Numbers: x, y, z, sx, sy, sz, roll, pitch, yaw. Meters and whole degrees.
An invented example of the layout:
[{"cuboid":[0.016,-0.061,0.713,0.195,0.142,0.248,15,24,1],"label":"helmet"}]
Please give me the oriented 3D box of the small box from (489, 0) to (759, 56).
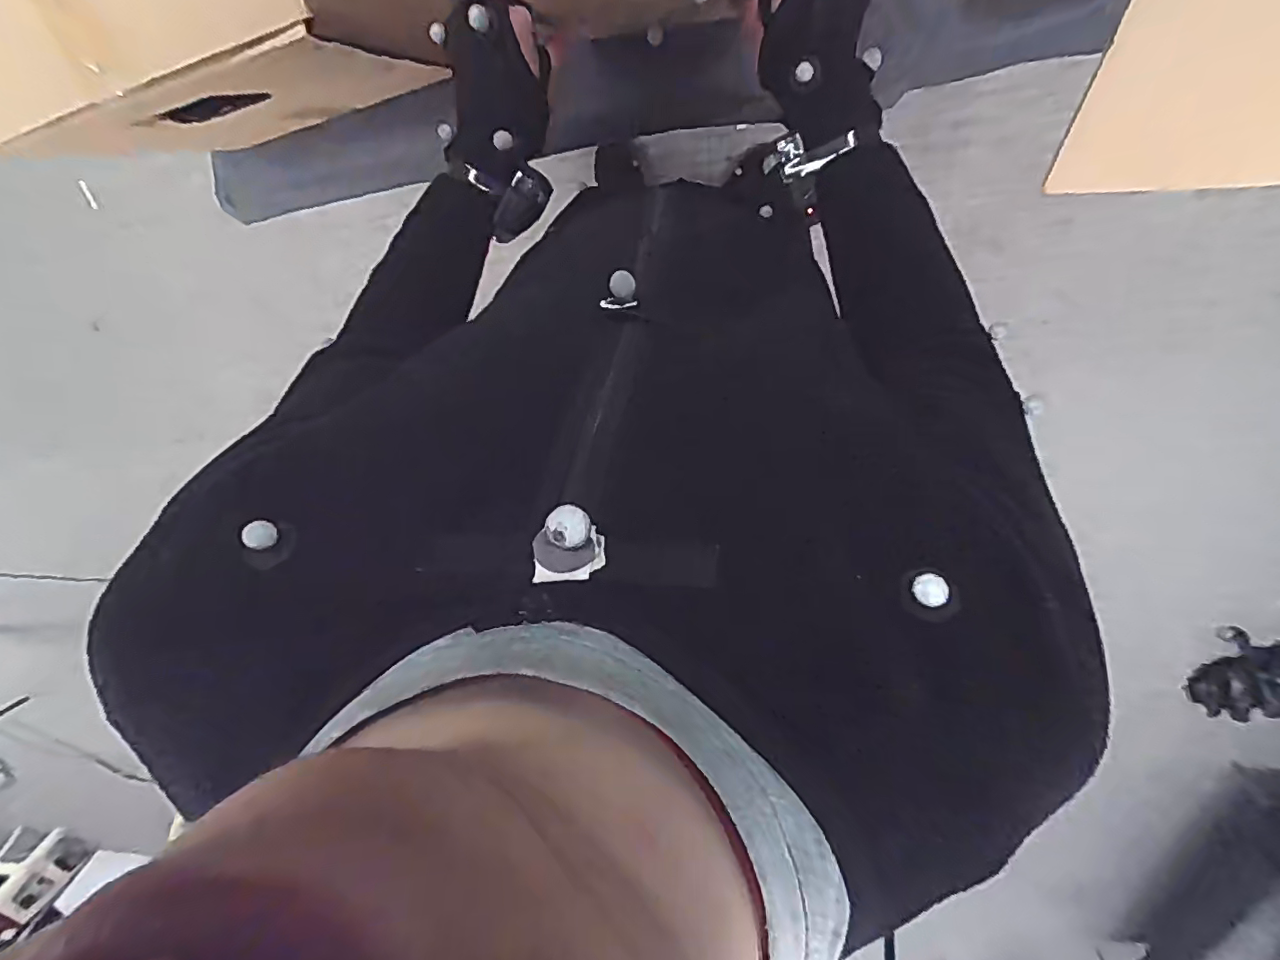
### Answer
[{"cuboid":[-0.008,-0.377,0.323,0.168,0.176,0.179,-5,122,8],"label":"small box"}]
